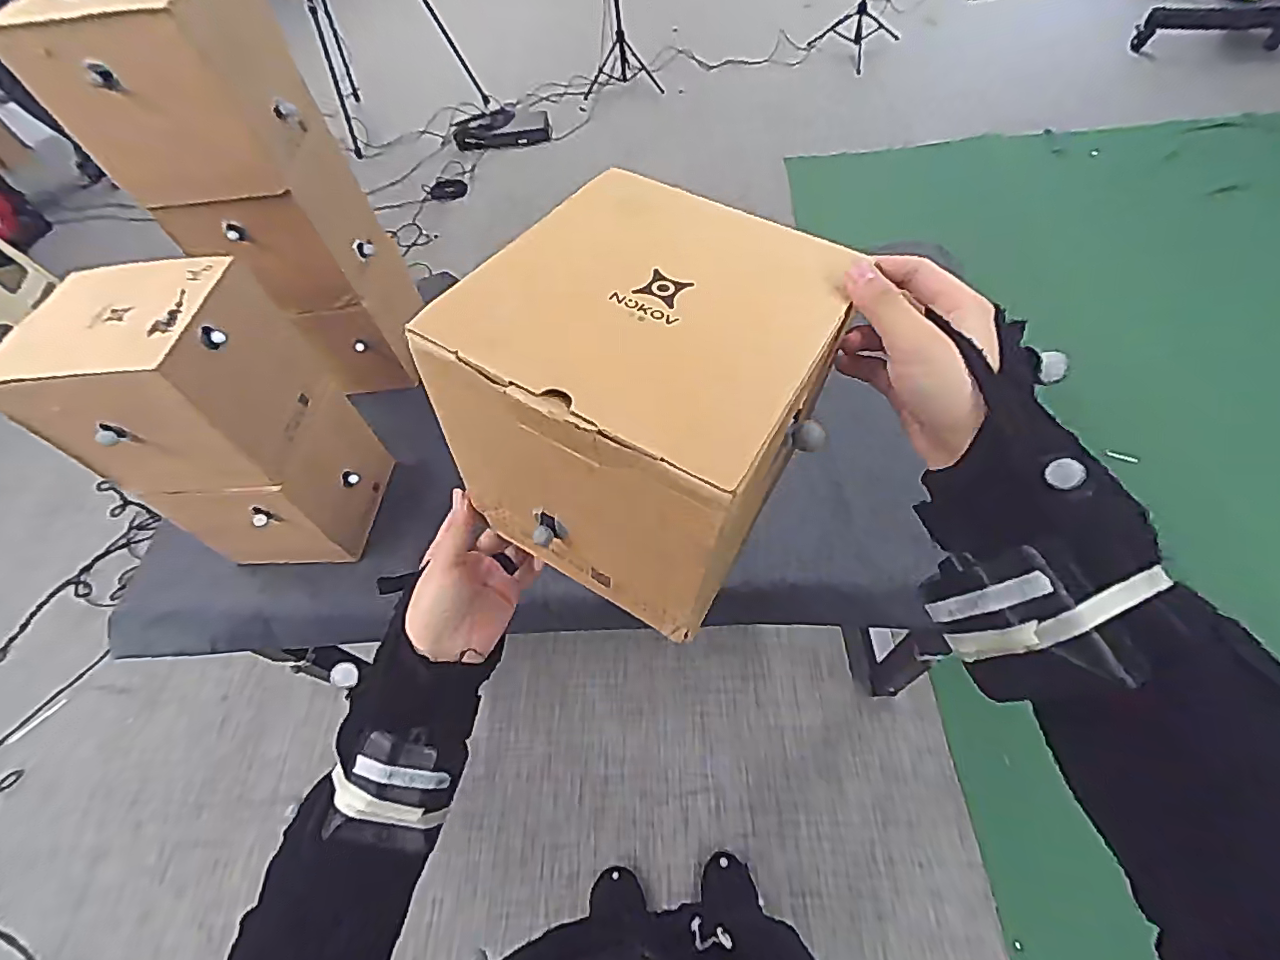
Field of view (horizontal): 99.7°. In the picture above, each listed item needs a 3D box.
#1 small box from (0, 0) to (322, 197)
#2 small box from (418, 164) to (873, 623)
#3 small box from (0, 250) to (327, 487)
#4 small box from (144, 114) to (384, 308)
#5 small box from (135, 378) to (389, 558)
[{"bbox_3d":[-0.485,-0.425,0.571,0.179,0.176,0.168,-4,59,2],"label":"small box"},{"bbox_3d":[0.007,-0.047,0.327,0.168,0.176,0.179,27,60,14],"label":"small box"},{"bbox_3d":[-0.472,-0.106,0.556,0.179,0.176,0.168,-5,55,4],"label":"small box"},{"bbox_3d":[-0.474,-0.347,0.716,0.179,0.176,0.168,-6,59,1],"label":"small box"},{"bbox_3d":[-0.453,-0.010,0.688,0.179,0.176,0.168,-1,55,5],"label":"small box"}]
